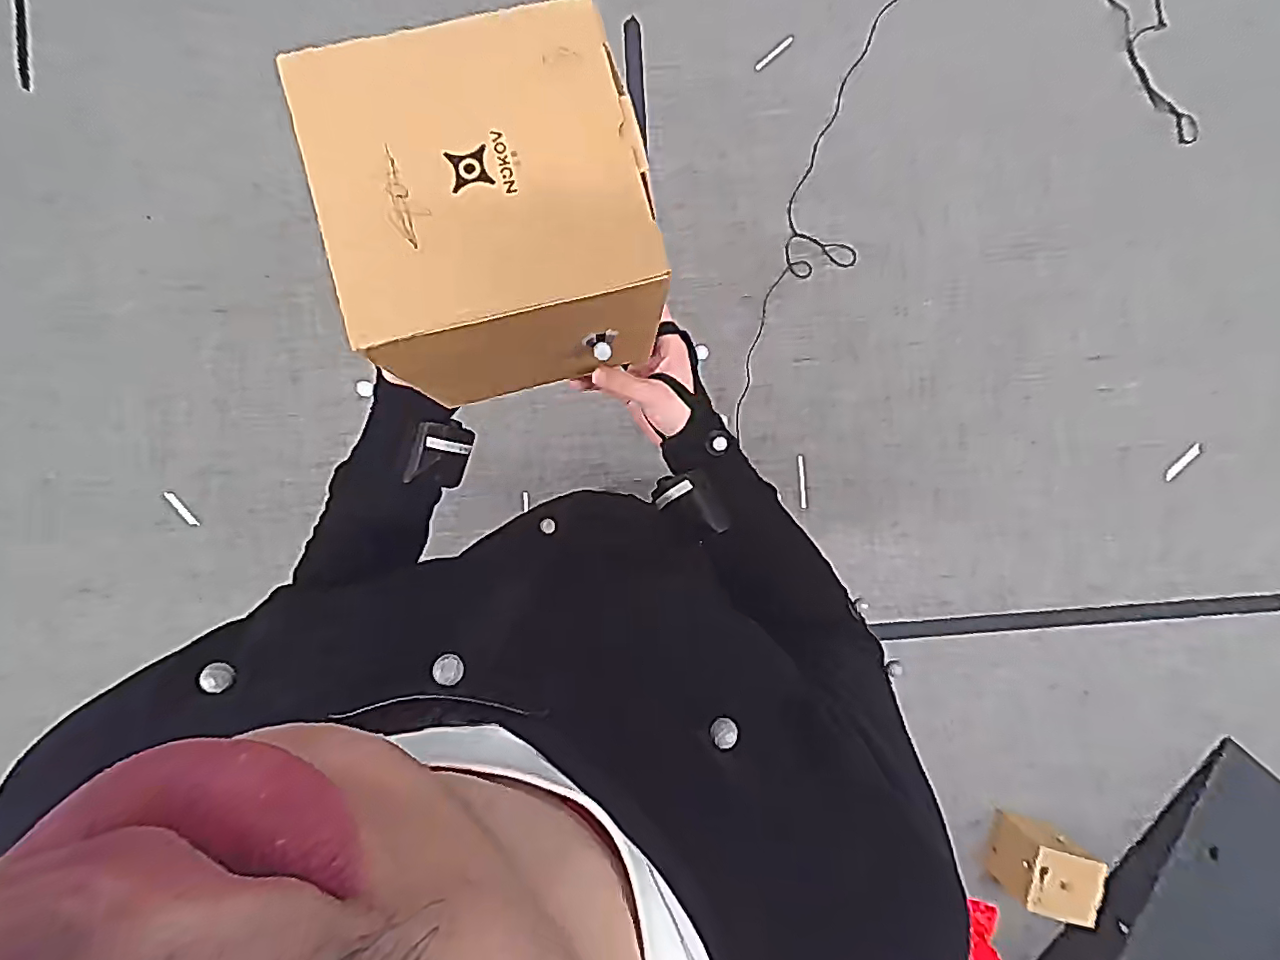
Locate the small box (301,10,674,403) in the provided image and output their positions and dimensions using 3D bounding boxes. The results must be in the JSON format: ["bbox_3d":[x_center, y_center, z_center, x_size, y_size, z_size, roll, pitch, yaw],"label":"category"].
[{"bbox_3d":[-0.089,-0.165,0.381,0.179,0.176,0.168,-15,87,-4],"label":"small box"}]
